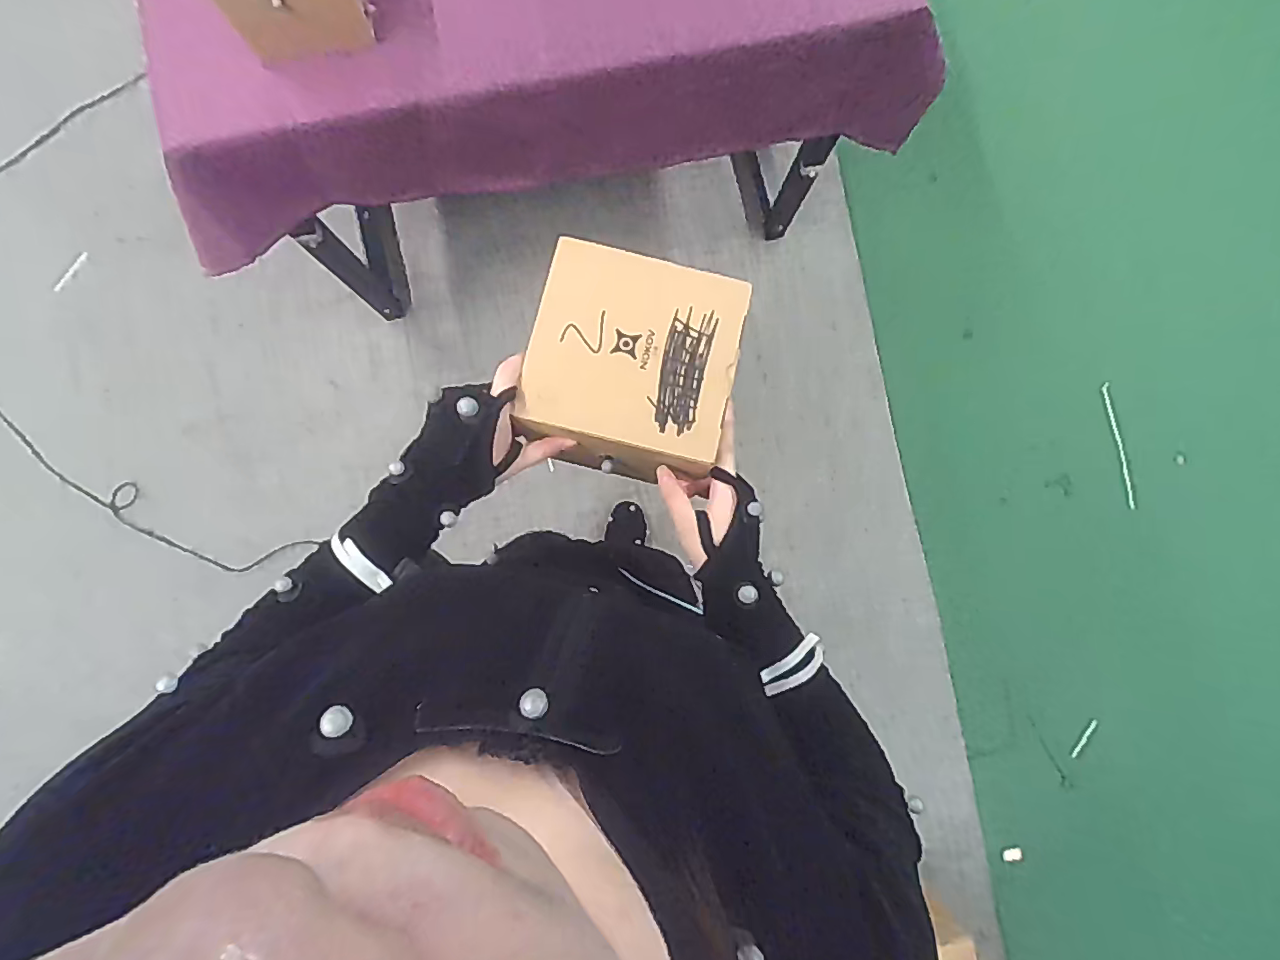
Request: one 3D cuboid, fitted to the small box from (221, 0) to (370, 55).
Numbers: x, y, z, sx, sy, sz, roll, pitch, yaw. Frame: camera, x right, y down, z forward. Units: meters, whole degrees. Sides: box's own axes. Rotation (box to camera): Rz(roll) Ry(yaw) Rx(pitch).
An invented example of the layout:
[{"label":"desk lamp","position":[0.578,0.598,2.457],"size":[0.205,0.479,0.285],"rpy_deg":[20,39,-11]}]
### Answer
[{"label":"small box","position":[-0.494,-0.734,0.742],"size":[0.179,0.176,0.168],"rpy_deg":[-11,86,-3]}]
